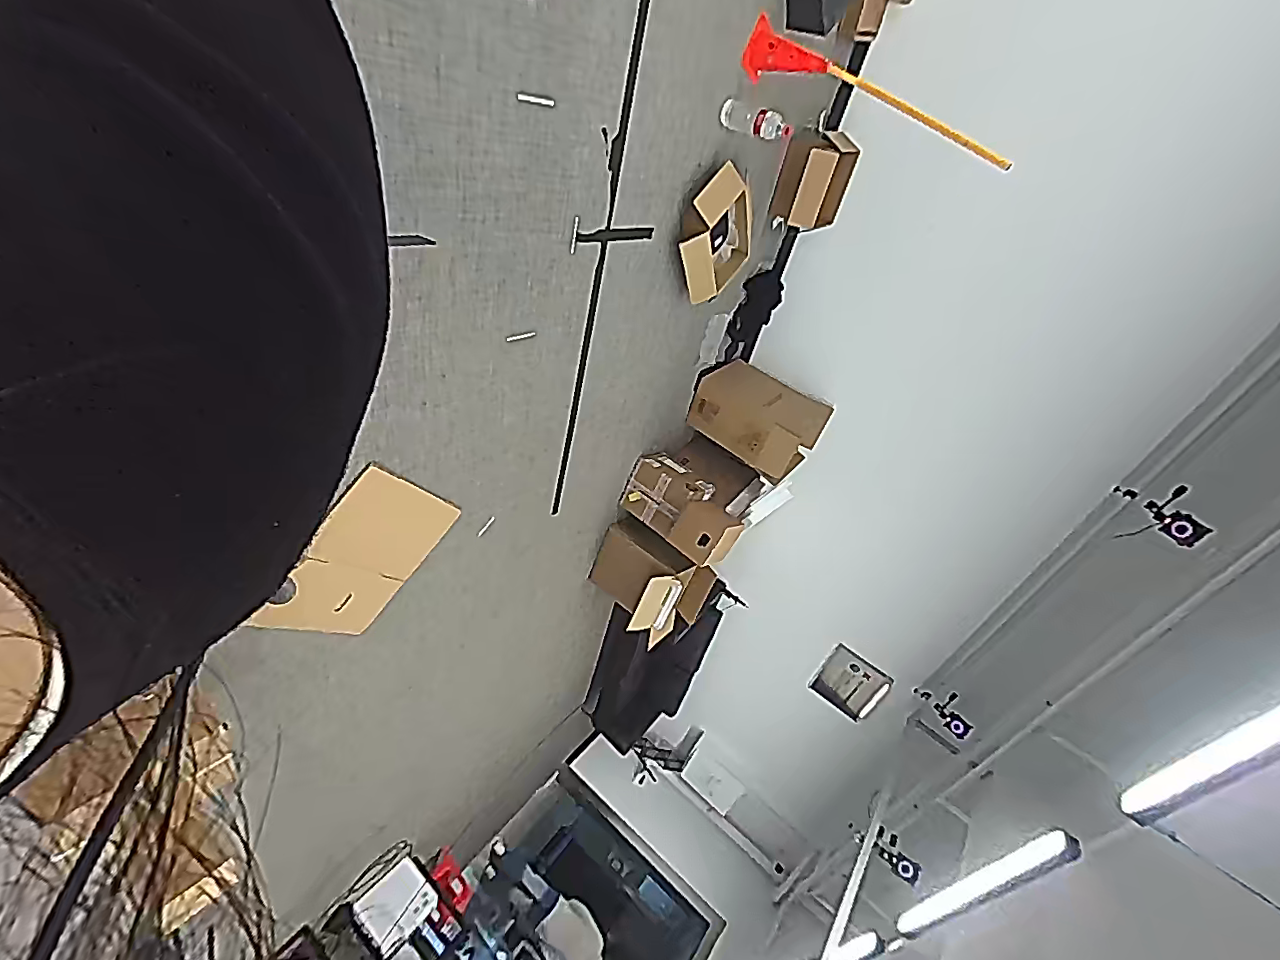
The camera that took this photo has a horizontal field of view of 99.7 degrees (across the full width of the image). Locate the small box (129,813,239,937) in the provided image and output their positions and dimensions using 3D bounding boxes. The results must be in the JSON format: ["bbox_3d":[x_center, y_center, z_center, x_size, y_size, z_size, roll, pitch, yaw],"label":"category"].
[{"bbox_3d":[-1.223,1.051,1.448,0.179,0.176,0.168,-30,148,-49],"label":"small box"}]
